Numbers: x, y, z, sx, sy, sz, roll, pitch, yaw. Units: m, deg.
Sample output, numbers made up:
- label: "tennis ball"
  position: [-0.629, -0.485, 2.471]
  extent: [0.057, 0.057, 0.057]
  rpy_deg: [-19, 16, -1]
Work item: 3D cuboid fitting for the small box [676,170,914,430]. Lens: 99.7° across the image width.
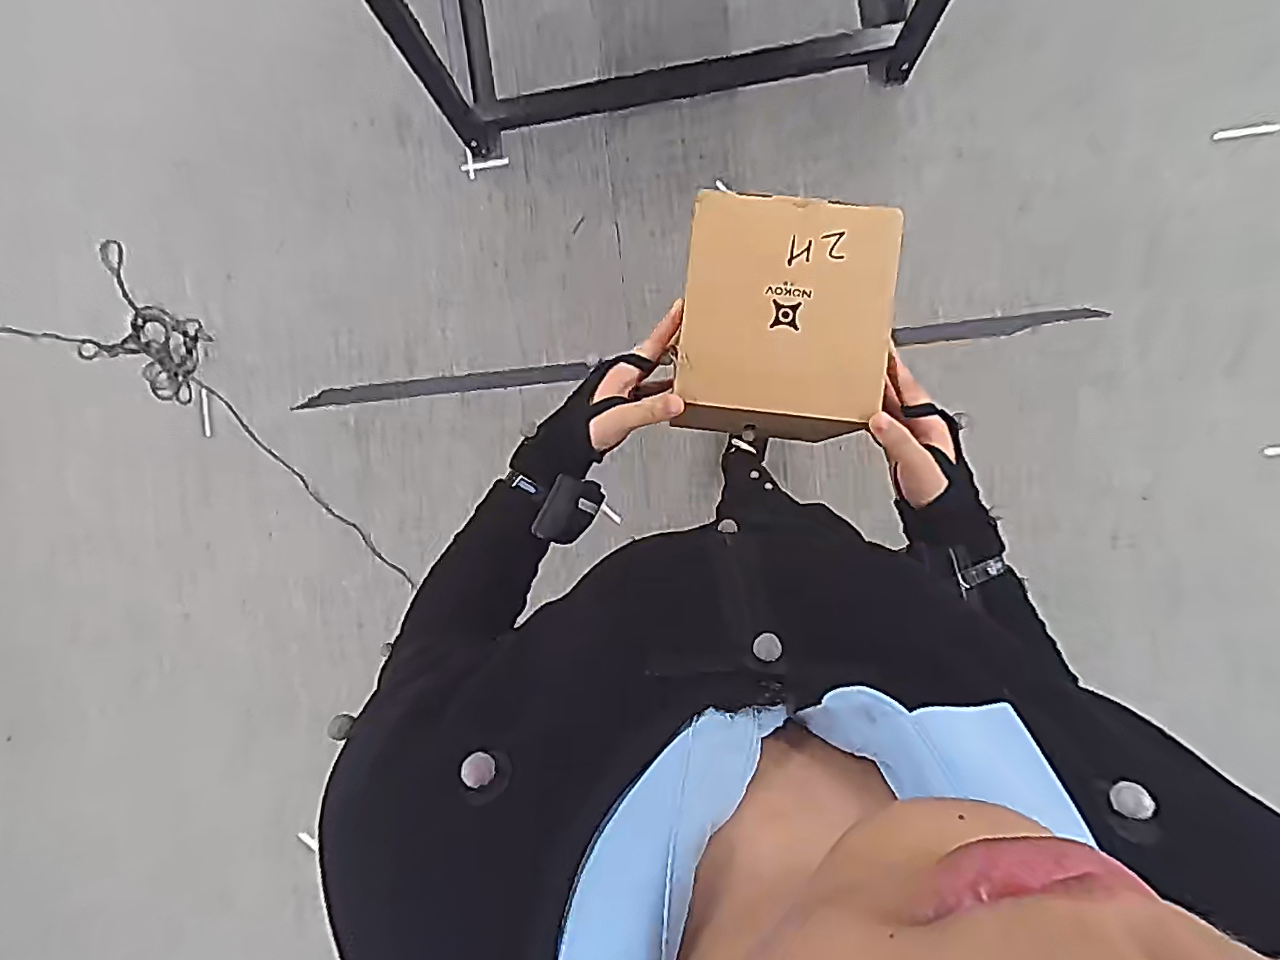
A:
- label: "small box"
  position: [0.124, -0.147, 0.501]
  extent: [0.168, 0.176, 0.179]
  rpy_deg: [7, 88, 2]
